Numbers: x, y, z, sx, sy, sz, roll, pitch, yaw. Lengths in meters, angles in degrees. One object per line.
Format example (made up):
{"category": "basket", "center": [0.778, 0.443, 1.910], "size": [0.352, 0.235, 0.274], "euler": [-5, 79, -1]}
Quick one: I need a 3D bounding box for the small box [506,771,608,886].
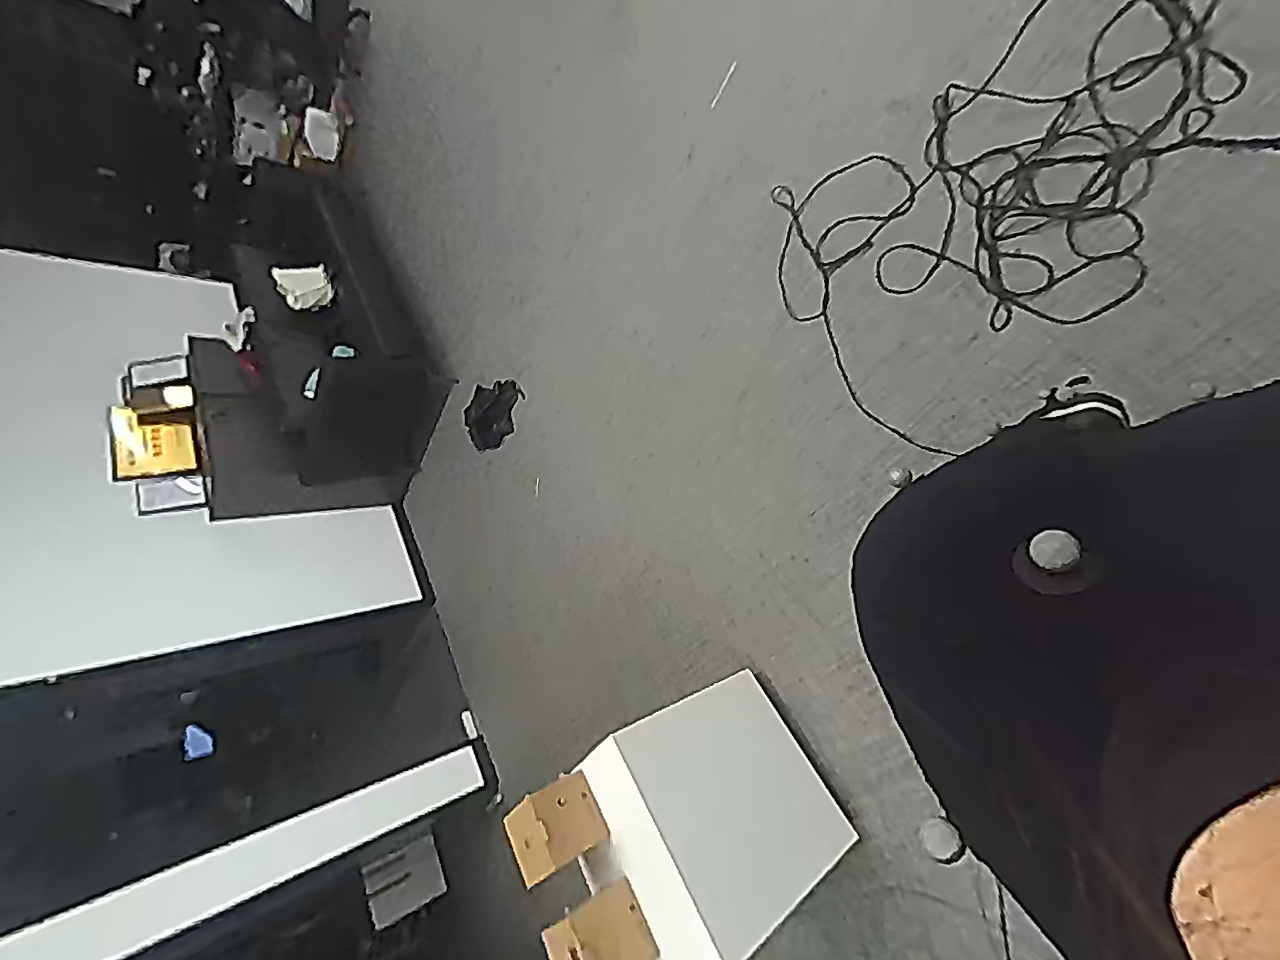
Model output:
{"category": "small box", "center": [-0.203, 0.863, 1.351], "size": [0.168, 0.176, 0.179], "euler": [57, 130, 28]}
